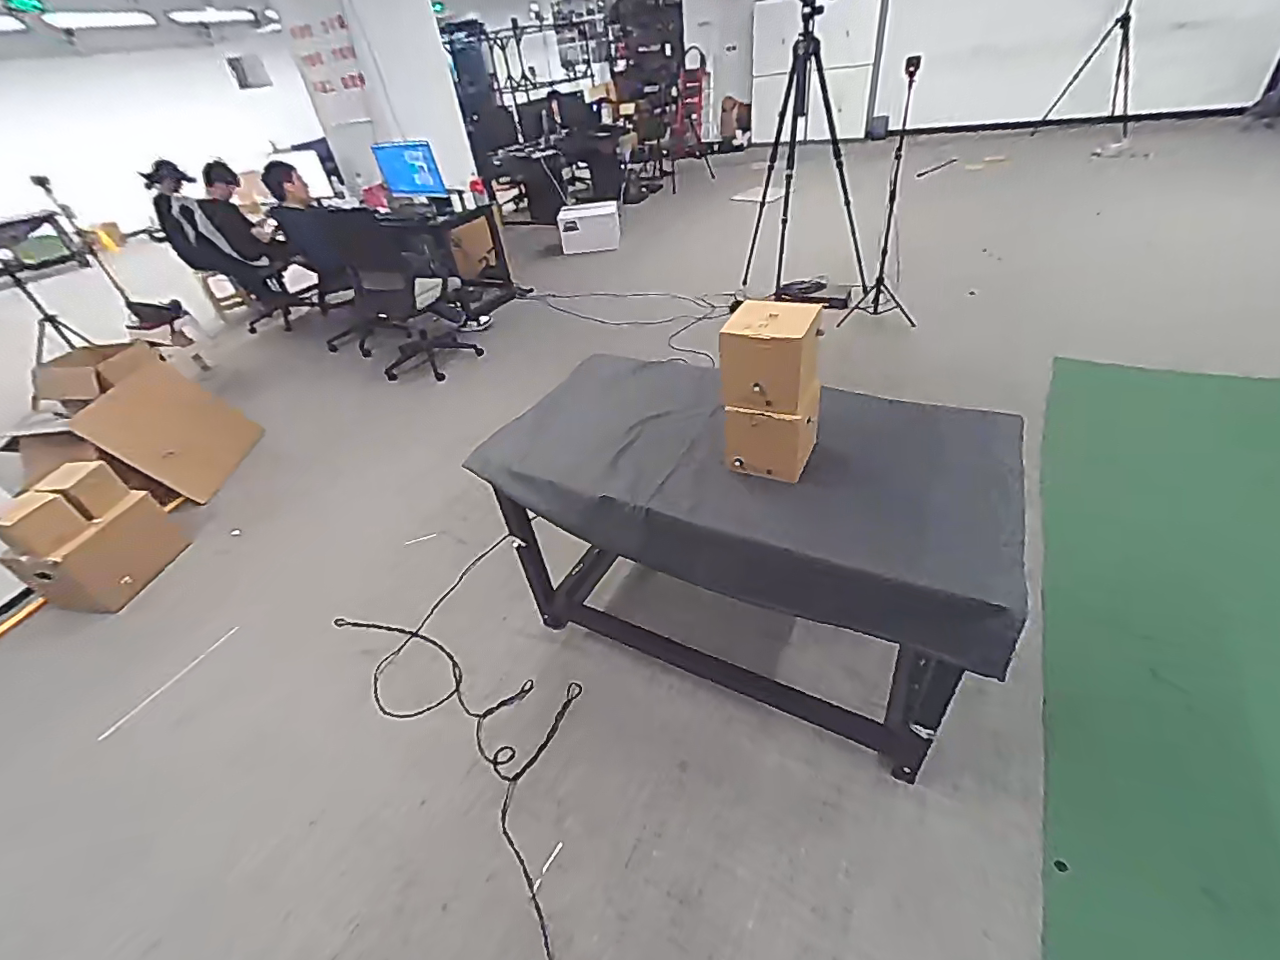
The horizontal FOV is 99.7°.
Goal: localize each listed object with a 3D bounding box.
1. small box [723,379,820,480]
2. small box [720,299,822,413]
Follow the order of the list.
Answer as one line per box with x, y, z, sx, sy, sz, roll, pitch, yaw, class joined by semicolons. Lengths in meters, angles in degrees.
0.299;-0.123;1.220;0.168;0.176;0.179;13;42;26;small box
0.274;-0.262;1.134;0.168;0.176;0.179;12;43;25;small box
